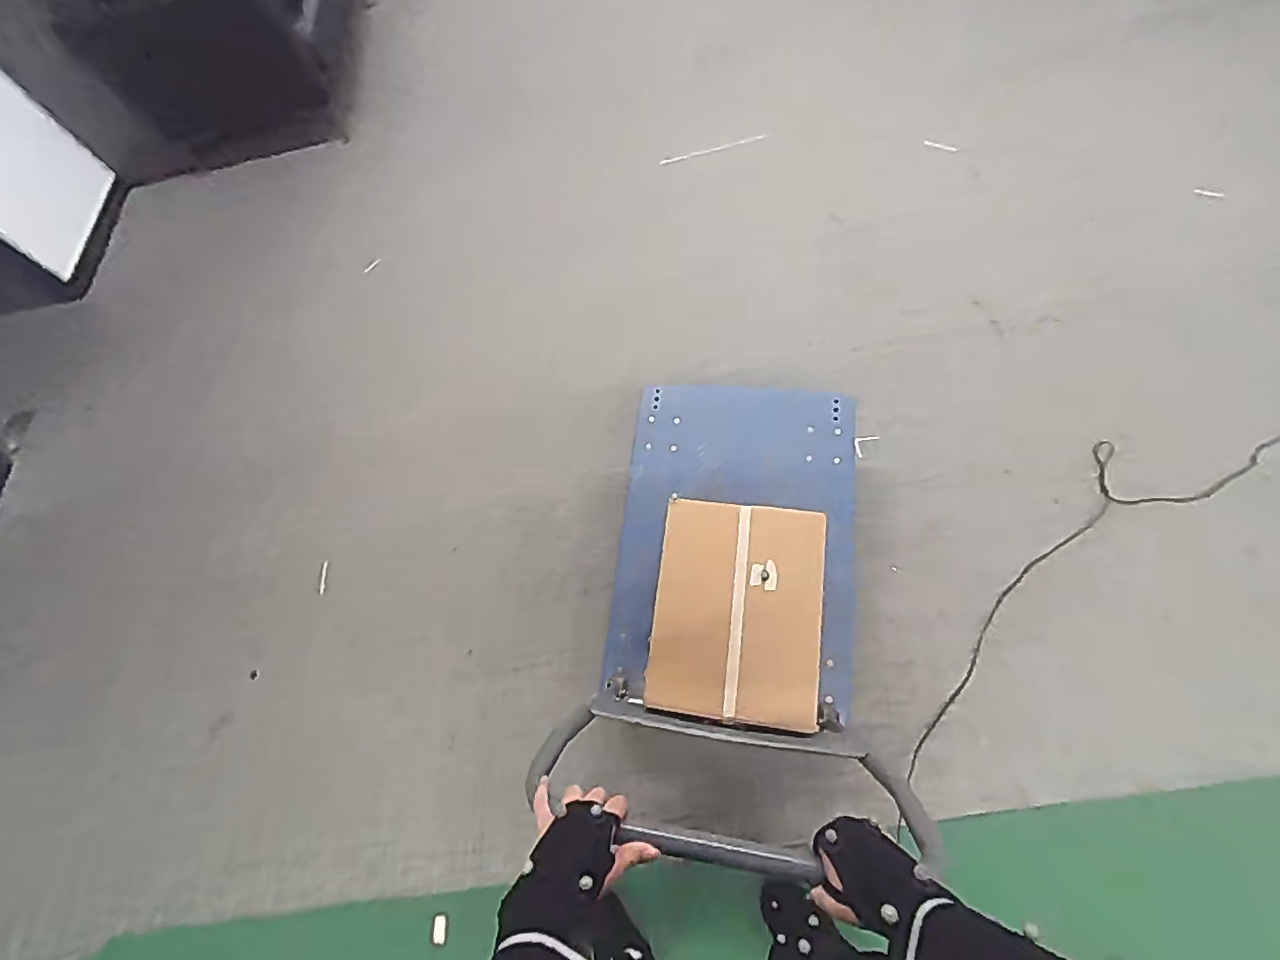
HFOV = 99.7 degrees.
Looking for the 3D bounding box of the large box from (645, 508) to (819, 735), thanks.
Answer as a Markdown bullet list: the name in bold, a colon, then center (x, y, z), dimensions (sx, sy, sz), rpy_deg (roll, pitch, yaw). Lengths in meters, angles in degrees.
- **large box**: center (0.205, 0.306, 1.189), dimensions (0.320, 0.320, 0.408), rpy_deg (6, 73, 10)
